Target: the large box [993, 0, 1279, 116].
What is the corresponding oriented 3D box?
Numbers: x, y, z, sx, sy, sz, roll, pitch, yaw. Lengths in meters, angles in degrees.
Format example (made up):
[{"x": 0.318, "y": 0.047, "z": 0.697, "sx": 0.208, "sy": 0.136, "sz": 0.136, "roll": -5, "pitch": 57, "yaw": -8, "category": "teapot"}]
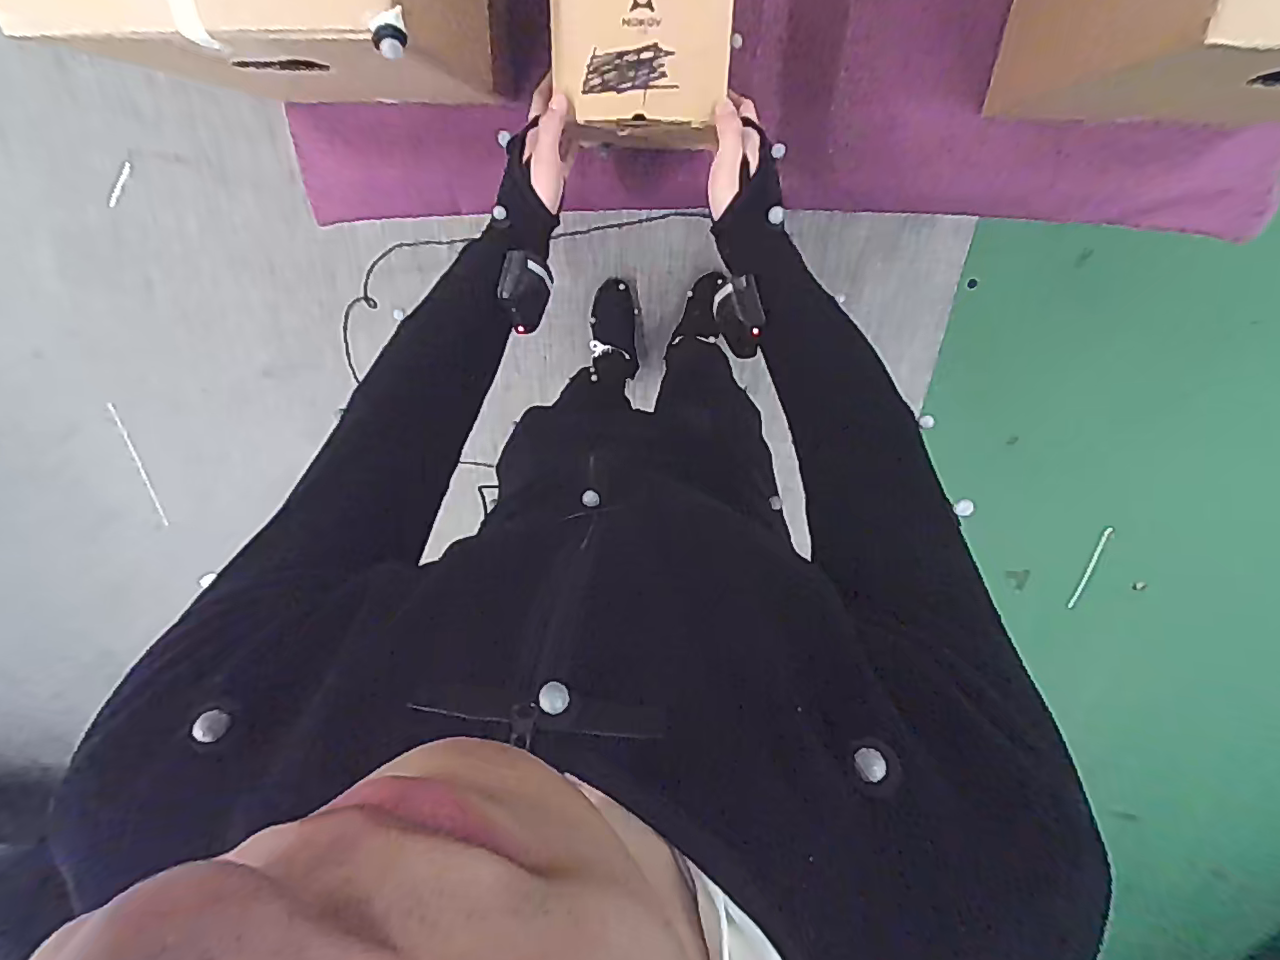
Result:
[{"x": 0.548, "y": -0.530, "z": 0.401, "sx": 0.320, "sy": 0.320, "sz": 0.408, "roll": 3, "pitch": 118, "yaw": 4, "category": "large box"}]
